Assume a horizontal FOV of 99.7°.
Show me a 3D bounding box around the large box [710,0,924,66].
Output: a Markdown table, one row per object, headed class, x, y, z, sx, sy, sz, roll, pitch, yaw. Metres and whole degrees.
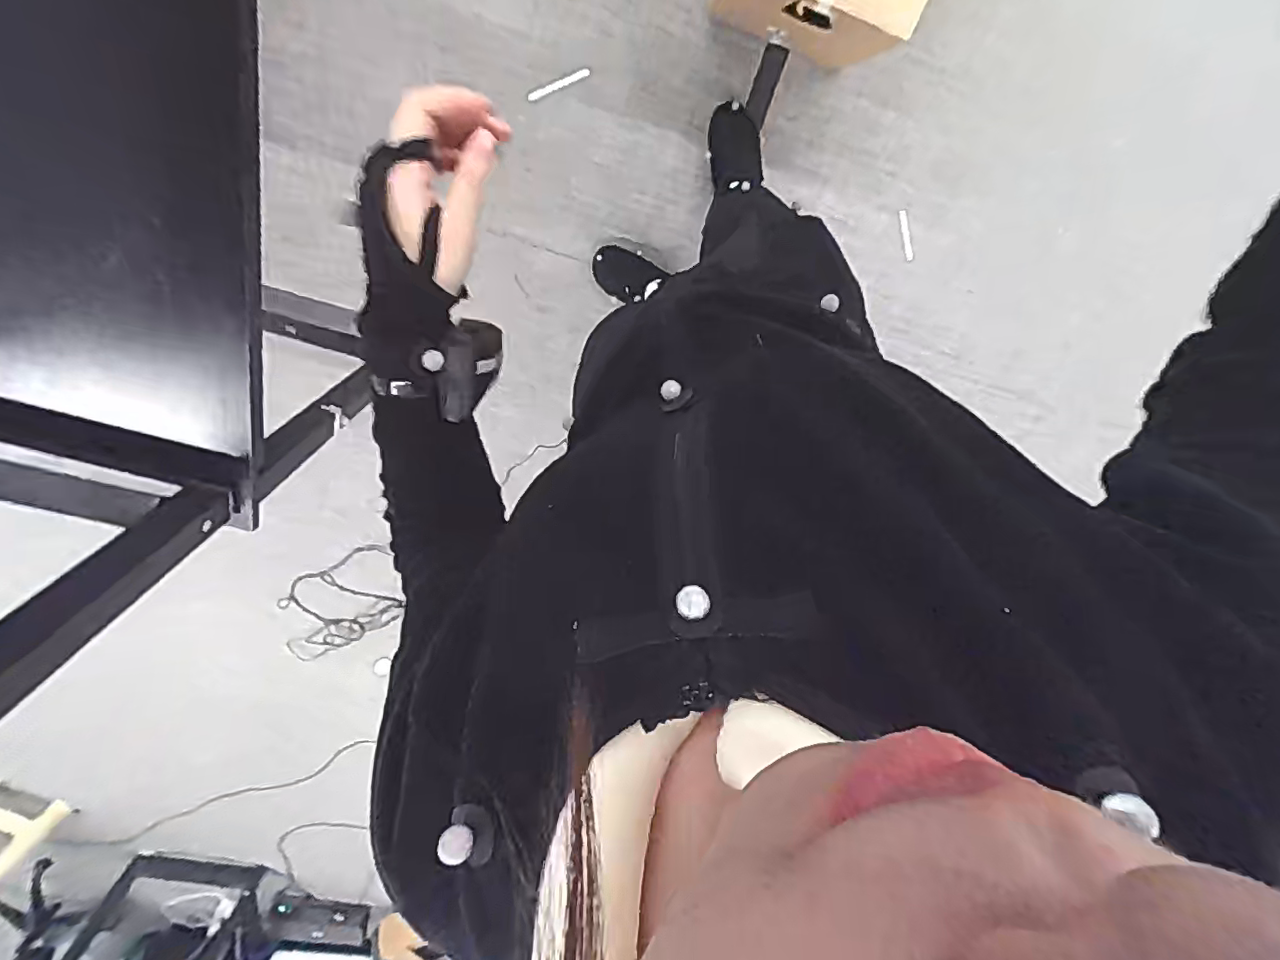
| class | x | y | z | sx | sy | sz | roll | pitch | yaw |
| --- | --- | --- | --- | --- | --- | --- | --- | --- | --- |
| large box | 0.339 | -0.988 | 0.880 | 0.320 | 0.320 | 0.408 | 15 | 118 | -11 |
